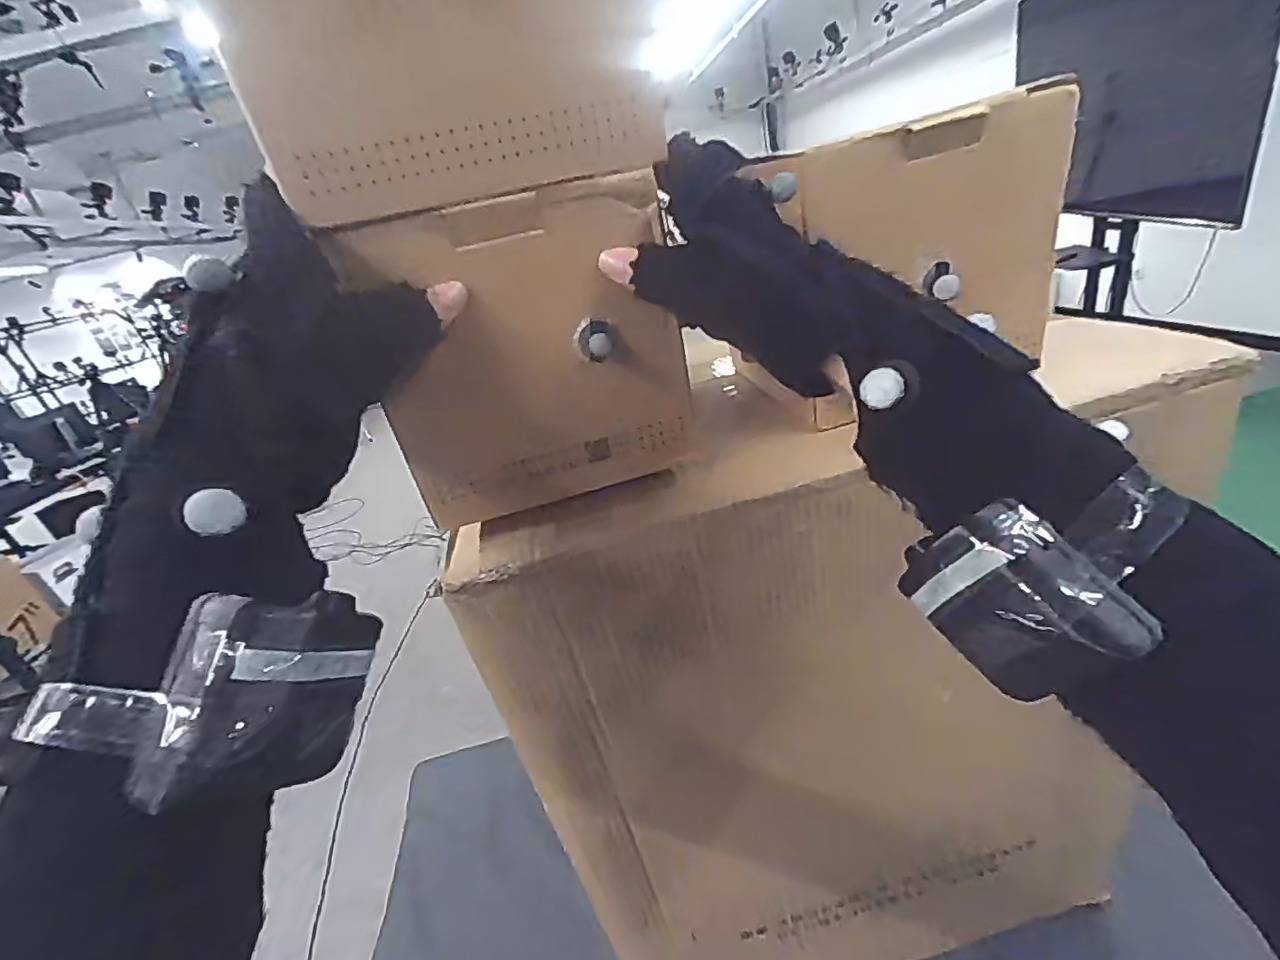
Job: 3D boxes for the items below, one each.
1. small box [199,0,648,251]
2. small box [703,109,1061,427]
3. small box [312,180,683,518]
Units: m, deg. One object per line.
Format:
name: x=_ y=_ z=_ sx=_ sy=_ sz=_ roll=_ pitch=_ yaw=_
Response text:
small box: x=-0.102 y=-0.227 z=0.279 sx=0.179 sy=0.176 sz=0.168 roll=-17 pitch=31 yaw=-13
small box: x=0.160 y=-0.151 z=0.407 sx=0.168 sy=0.176 sz=0.179 roll=-15 pitch=28 yaw=-4
small box: x=-0.077 y=-0.089 z=0.366 sx=0.168 sy=0.176 sz=0.179 roll=-15 pitch=28 yaw=-7
